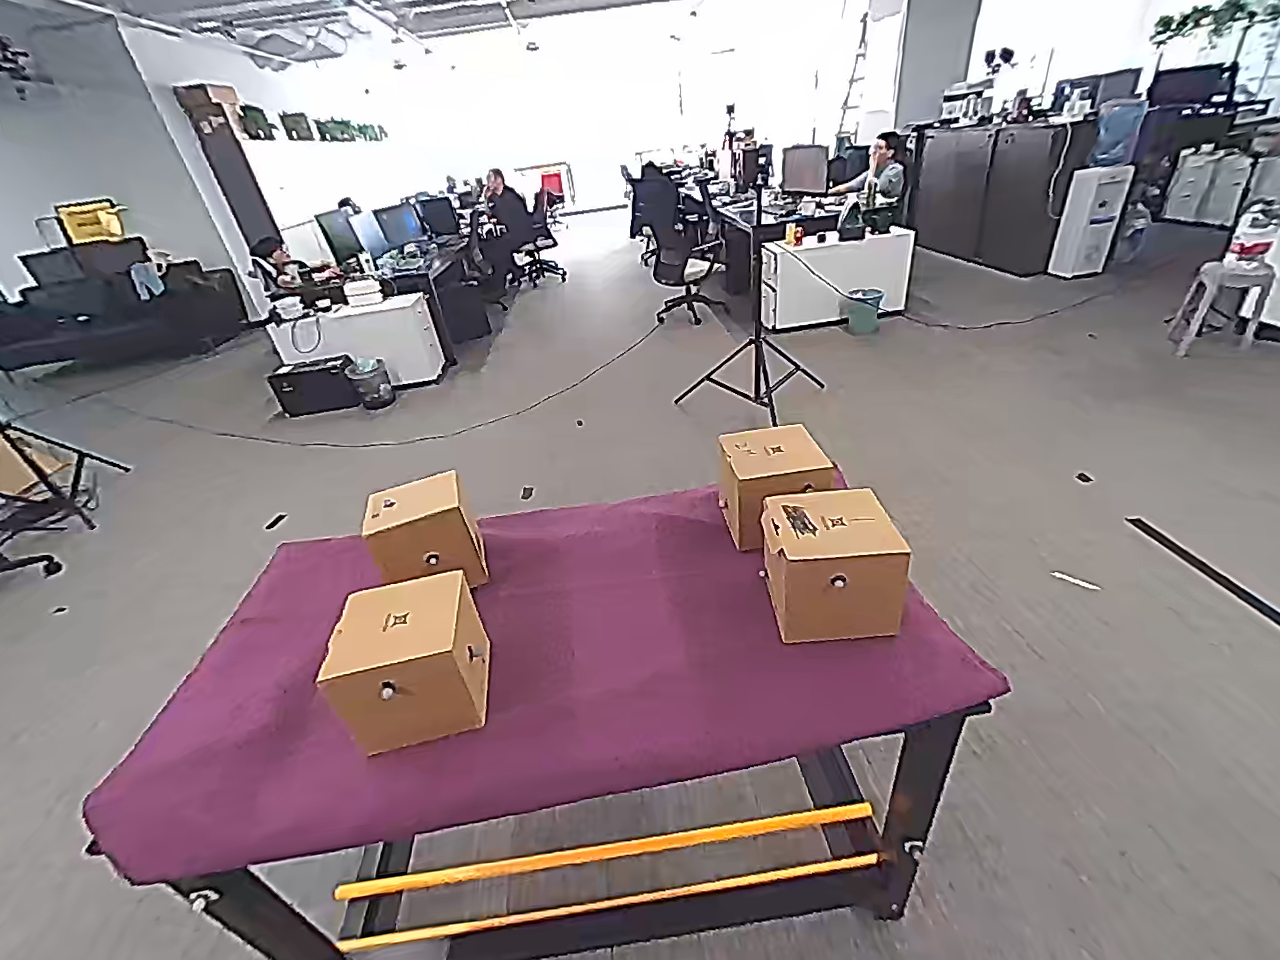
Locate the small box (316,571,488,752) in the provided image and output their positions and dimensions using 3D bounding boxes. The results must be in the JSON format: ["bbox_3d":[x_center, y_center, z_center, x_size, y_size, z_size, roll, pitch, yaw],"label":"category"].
[{"bbox_3d":[-0.332,0.266,0.800,0.179,0.176,0.168,-12,32,-6],"label":"small box"}]

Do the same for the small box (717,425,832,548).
[{"bbox_3d":[0.254,0.013,1.060,0.179,0.176,0.168,-9,33,-1],"label":"small box"}]

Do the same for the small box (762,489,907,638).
[{"bbox_3d":[0.297,0.133,0.862,0.179,0.176,0.168,-6,31,4],"label":"small box"}]
